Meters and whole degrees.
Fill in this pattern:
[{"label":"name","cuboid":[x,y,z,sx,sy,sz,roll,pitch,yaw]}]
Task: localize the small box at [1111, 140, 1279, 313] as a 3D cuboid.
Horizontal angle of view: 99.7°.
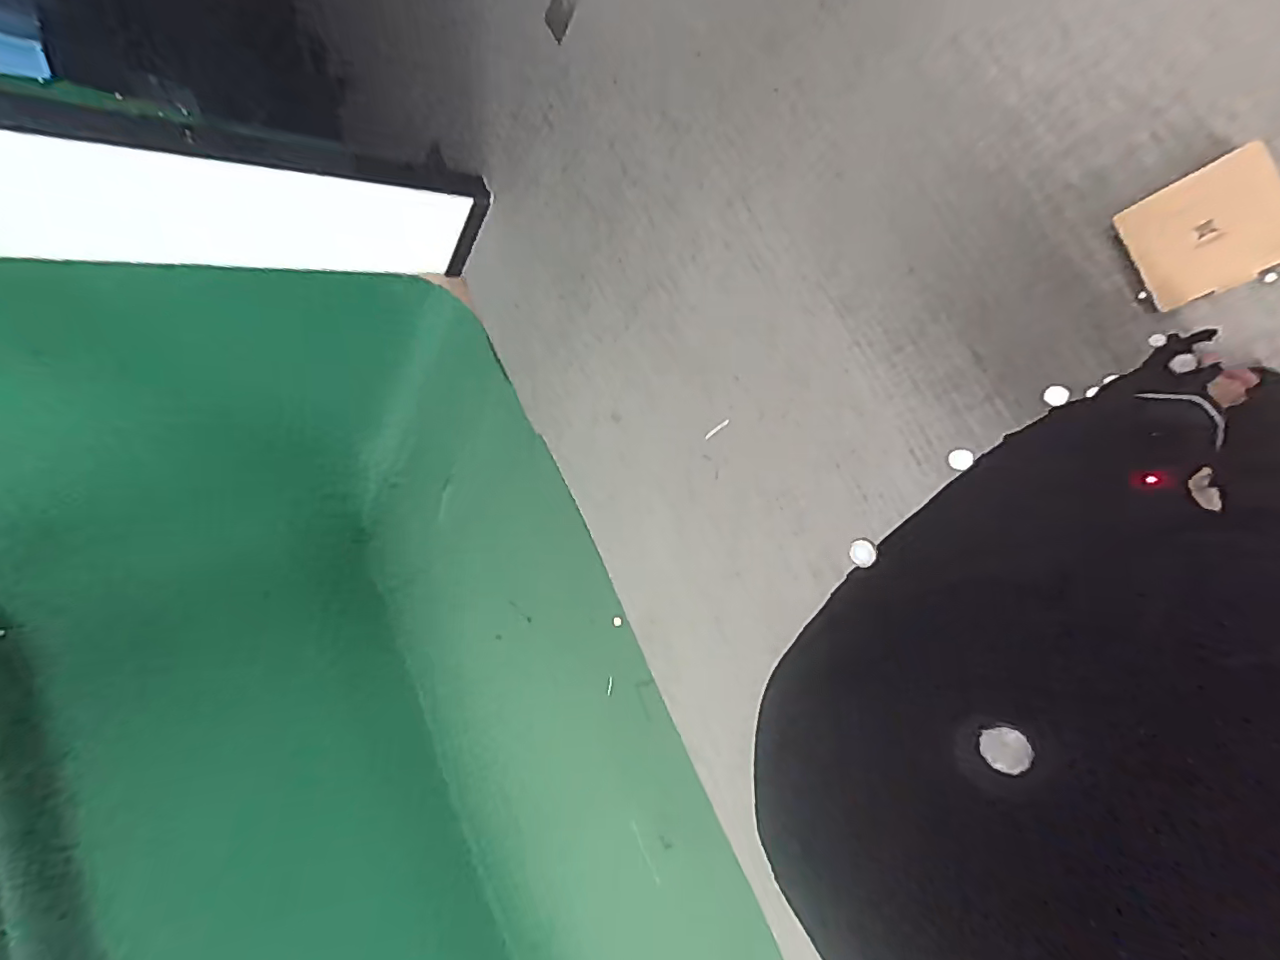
[{"label":"small box","cuboid":[0.884,-0.382,0.845,0.168,0.176,0.179,-28,80,46]}]
